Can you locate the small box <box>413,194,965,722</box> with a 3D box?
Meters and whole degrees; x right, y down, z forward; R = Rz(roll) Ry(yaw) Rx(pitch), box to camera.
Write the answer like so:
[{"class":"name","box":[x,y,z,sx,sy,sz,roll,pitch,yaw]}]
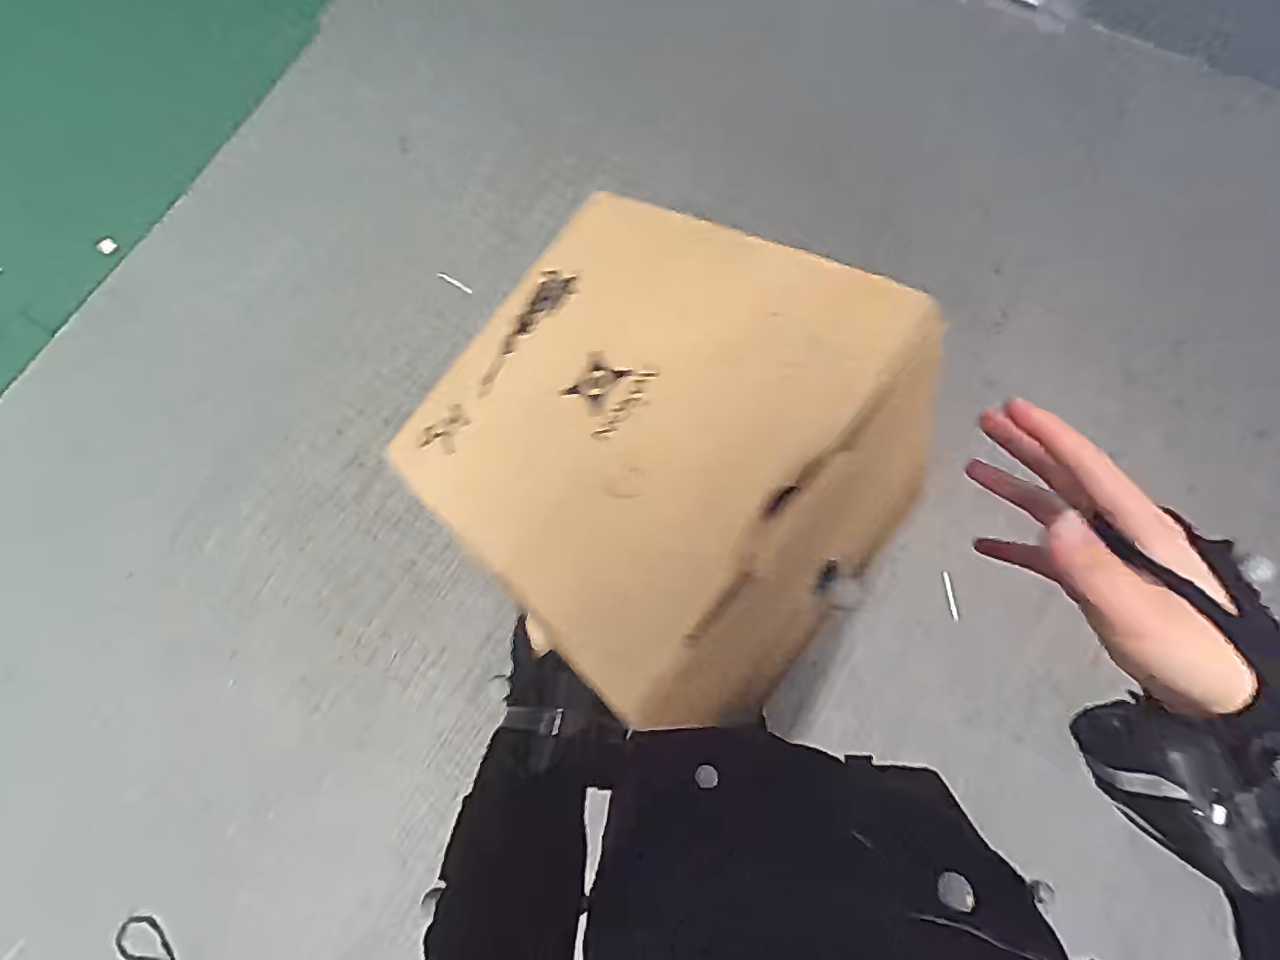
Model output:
[{"class":"small box","box":[0.030,-0.003,0.284,0.179,0.176,0.168,39,88,33]}]
